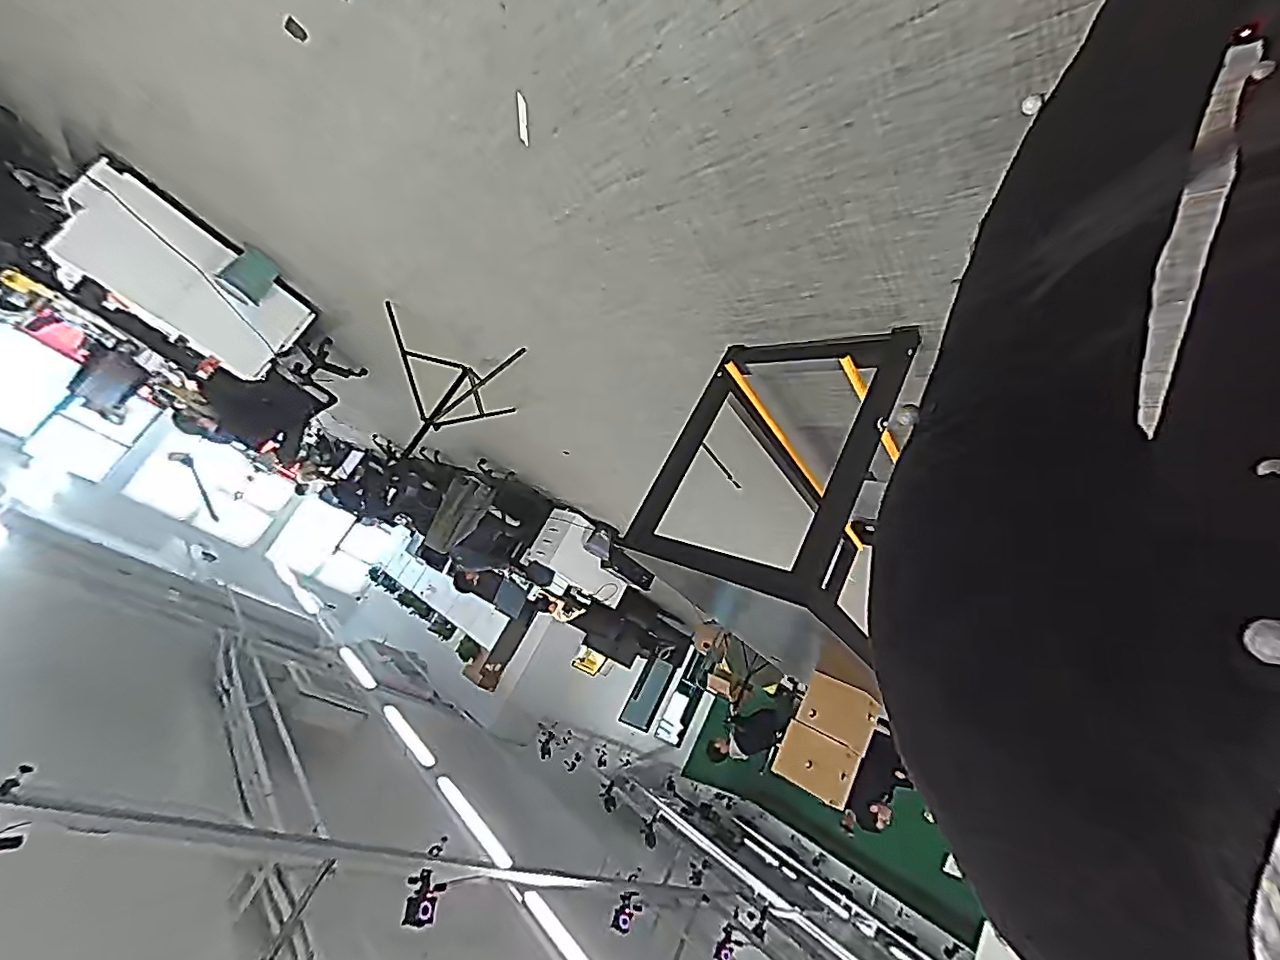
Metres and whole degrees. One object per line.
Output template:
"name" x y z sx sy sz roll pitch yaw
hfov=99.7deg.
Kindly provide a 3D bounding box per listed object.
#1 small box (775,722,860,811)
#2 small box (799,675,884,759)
"small box" 0.550 0.869 1.651 0.179 0.176 0.168 9 153 49
"small box" 0.632 0.732 1.690 0.179 0.176 0.168 11 156 47
